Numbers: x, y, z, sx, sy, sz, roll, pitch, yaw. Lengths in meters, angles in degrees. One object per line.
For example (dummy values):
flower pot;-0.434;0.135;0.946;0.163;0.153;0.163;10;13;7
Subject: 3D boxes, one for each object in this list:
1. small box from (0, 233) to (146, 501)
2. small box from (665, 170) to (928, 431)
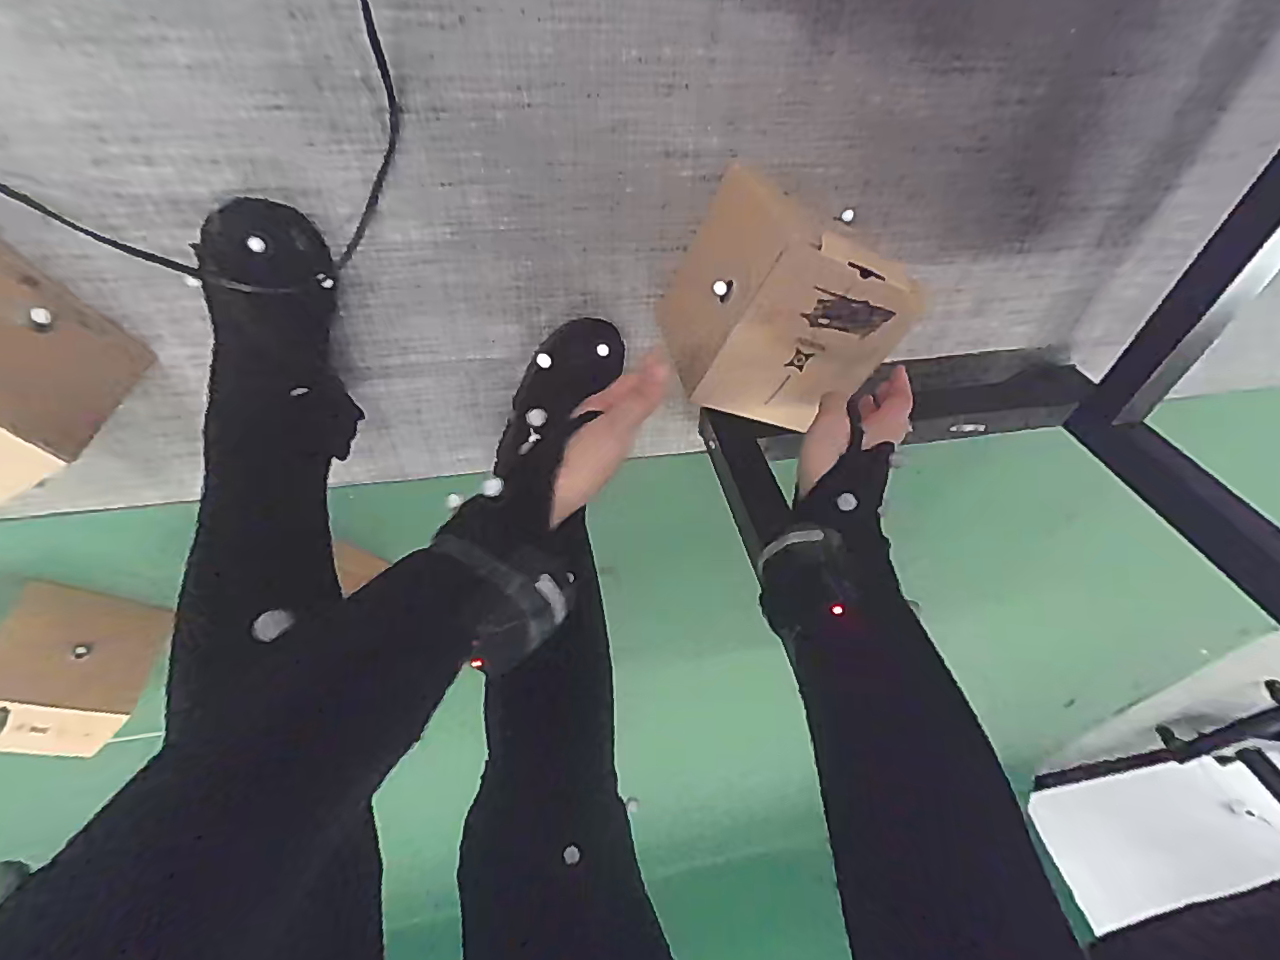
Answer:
small box;-0.599;-0.089;0.470;0.179;0.176;0.168;-24;136;11
small box;0.141;-0.183;0.559;0.168;0.176;0.179;11;133;-24
